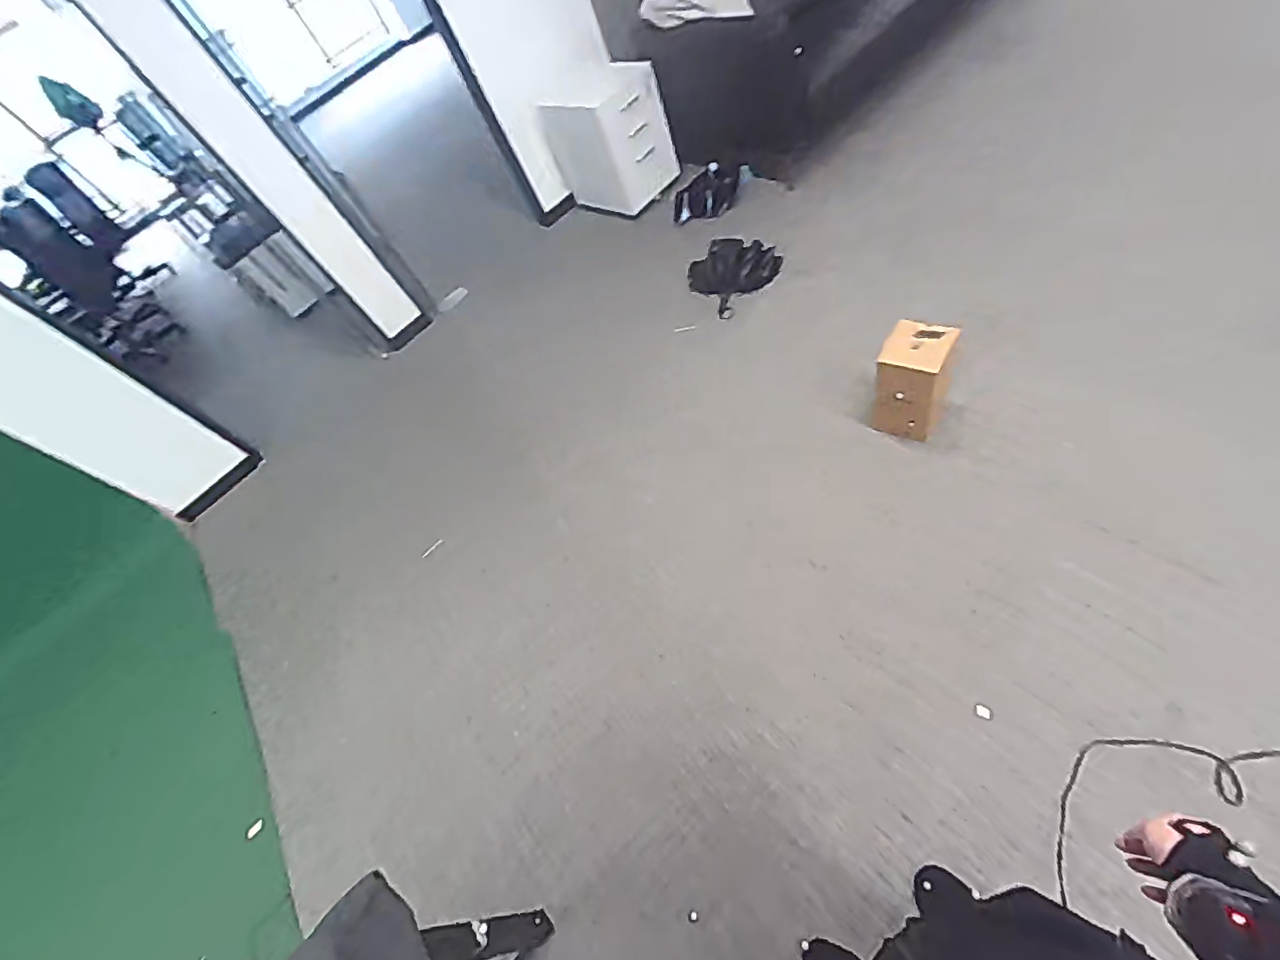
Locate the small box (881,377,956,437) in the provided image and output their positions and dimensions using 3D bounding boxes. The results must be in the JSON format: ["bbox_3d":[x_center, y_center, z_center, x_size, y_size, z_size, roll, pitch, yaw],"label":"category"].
[{"bbox_3d":[0.876,-0.263,1.696,0.168,0.176,0.179,22,67,33],"label":"small box"}]

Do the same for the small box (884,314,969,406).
[{"bbox_3d":[0.822,-0.346,1.565,0.168,0.176,0.179,23,70,34],"label":"small box"}]
